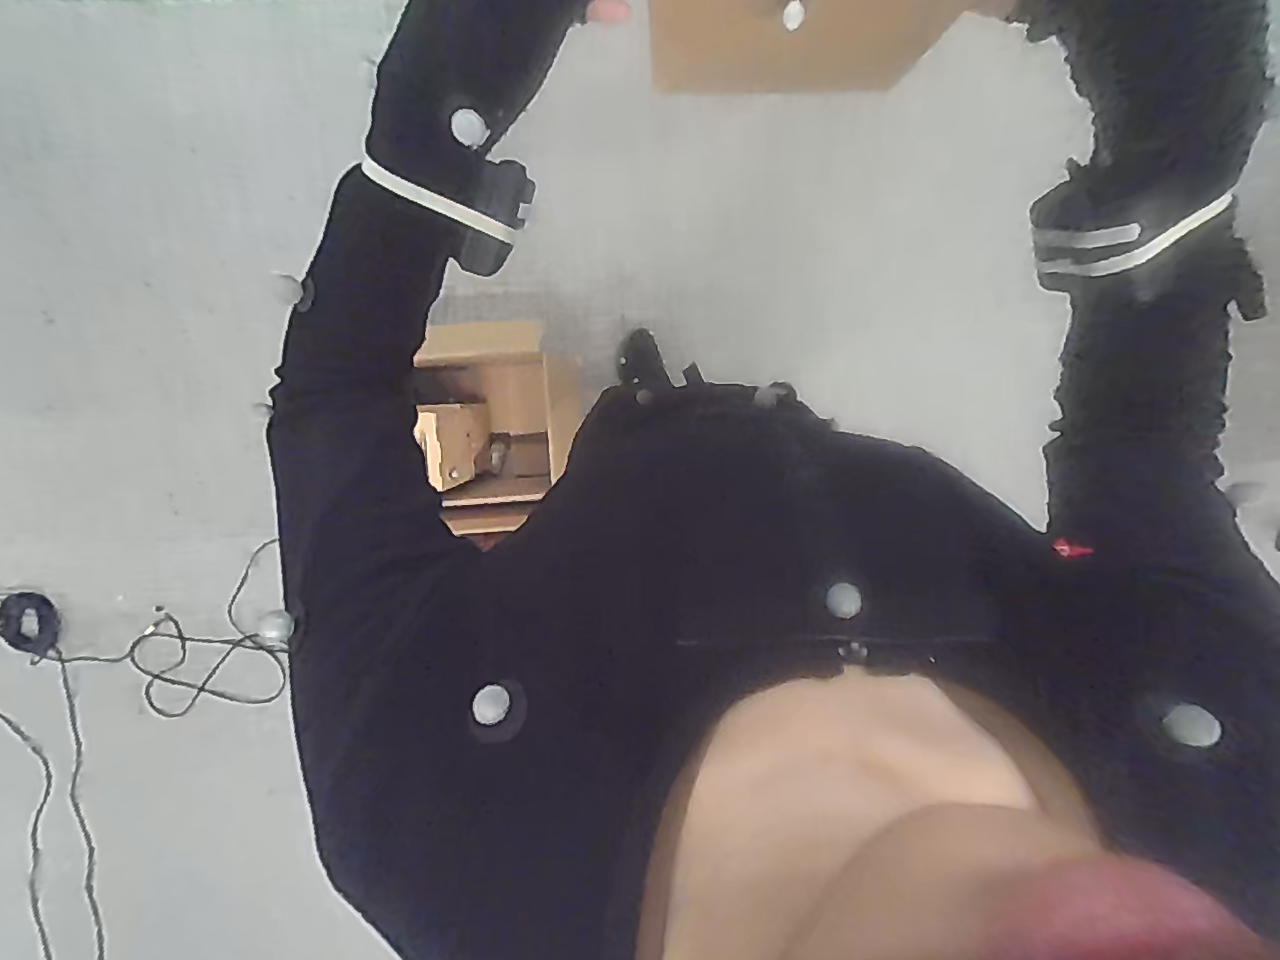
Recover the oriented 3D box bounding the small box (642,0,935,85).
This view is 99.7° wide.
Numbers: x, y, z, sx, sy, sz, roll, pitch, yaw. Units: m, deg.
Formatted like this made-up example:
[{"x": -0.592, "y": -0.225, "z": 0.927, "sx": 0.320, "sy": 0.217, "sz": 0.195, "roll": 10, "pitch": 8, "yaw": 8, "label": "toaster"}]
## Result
[{"x": 0.088, "y": -0.346, "z": 0.299, "sx": 0.179, "sy": 0.176, "sz": 0.168, "roll": 1, "pitch": 106, "yaw": 2, "label": "small box"}]
